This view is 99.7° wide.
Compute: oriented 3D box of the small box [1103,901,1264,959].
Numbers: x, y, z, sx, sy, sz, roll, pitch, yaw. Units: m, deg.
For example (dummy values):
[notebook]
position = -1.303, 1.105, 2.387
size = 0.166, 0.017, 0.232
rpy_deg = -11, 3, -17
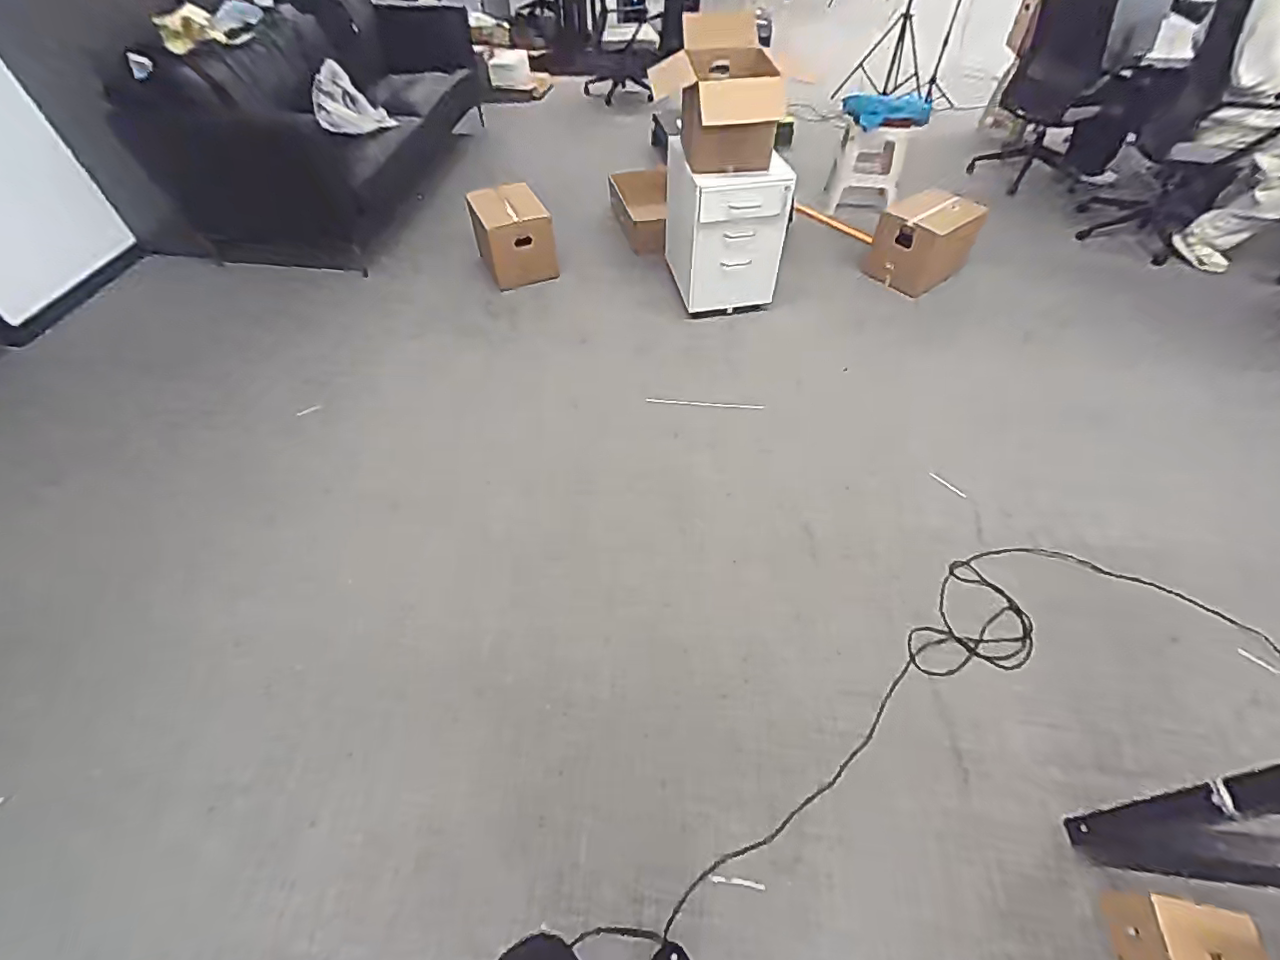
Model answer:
[small box]
position = 1.037, 0.929, 1.029
size = 0.179, 0.176, 0.168
rpy_deg = 9, 50, 7
